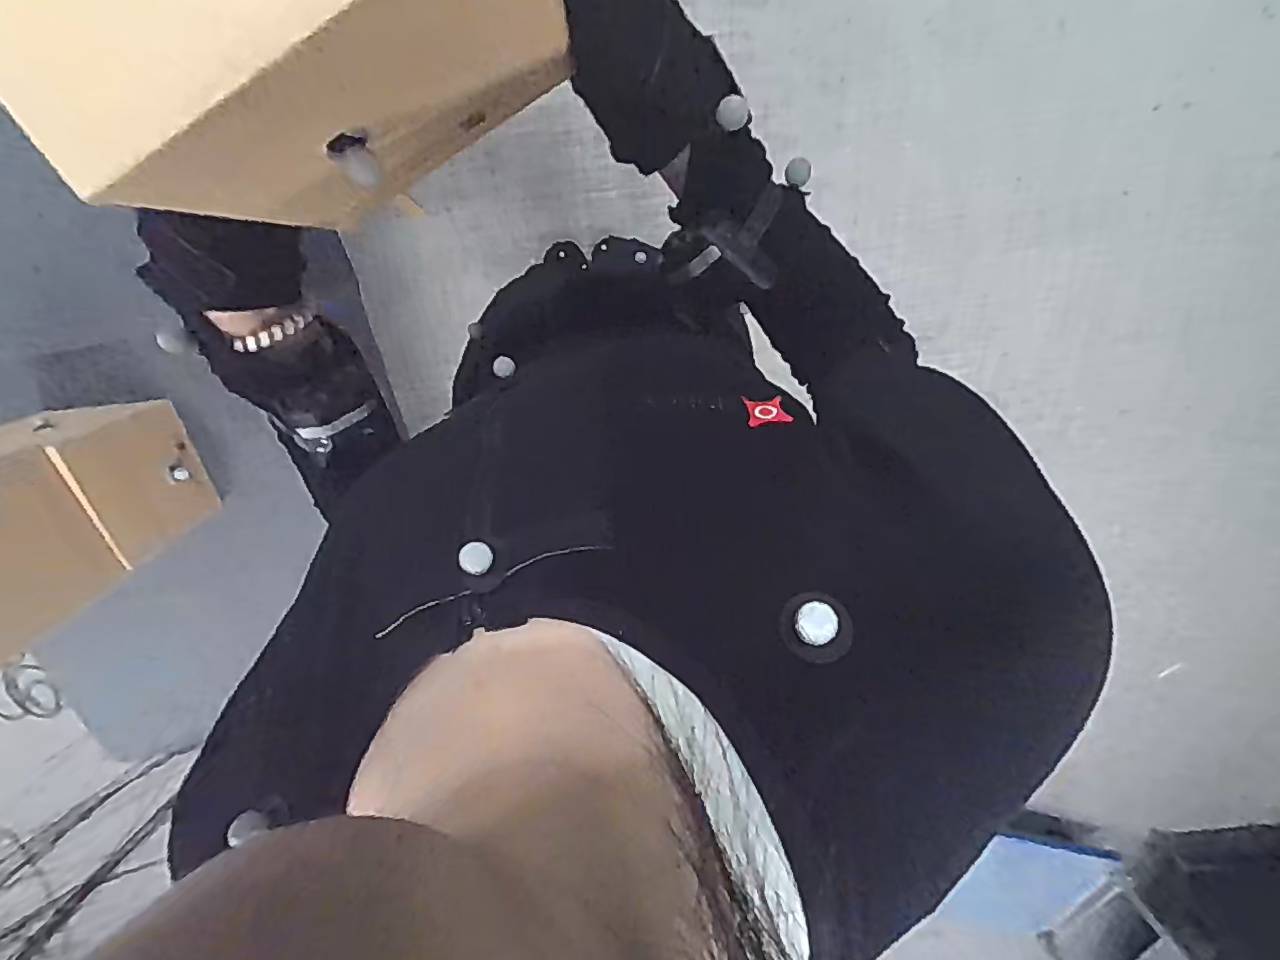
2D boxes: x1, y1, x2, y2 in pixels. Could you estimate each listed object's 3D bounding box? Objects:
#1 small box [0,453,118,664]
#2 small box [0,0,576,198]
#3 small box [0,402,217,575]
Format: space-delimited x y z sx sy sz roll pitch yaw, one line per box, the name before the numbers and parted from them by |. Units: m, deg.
small box | -0.693 0.082 0.527 0.168 0.176 0.179 -7 115 3
small box | -0.137 -0.229 0.202 0.168 0.176 0.179 -26 109 9
small box | -0.693 0.010 0.673 0.179 0.176 0.168 -6 115 1
